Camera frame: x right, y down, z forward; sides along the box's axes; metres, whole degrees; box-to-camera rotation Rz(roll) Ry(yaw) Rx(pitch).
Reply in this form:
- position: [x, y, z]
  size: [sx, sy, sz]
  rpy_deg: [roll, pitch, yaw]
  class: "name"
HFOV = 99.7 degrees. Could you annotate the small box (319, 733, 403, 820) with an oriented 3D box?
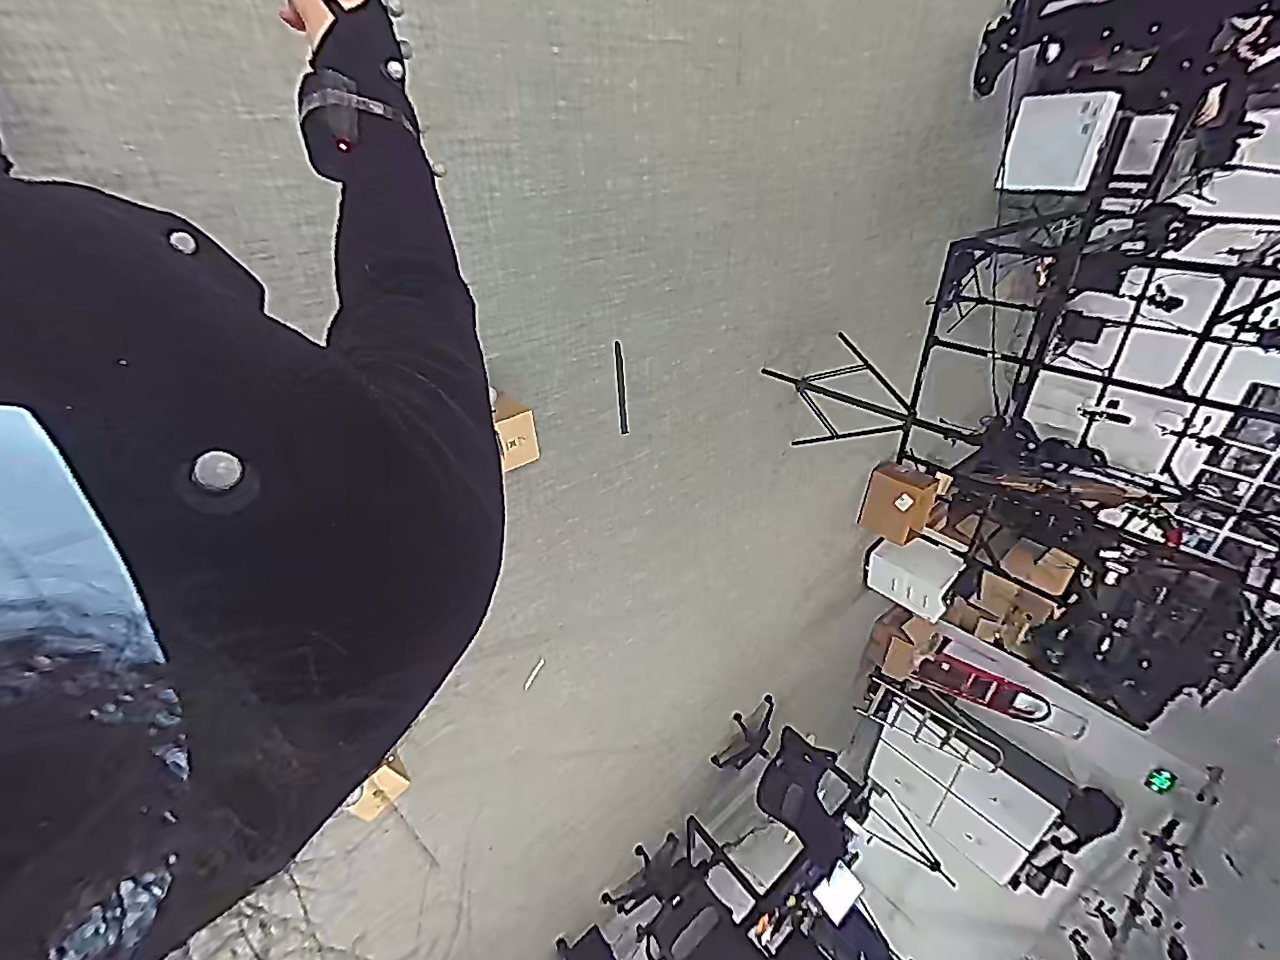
- position: [-0.939, 0.987, 1.815]
  size: [0.168, 0.176, 0.179]
  rpy_deg: [-38, 135, -22]
  class: "small box"
